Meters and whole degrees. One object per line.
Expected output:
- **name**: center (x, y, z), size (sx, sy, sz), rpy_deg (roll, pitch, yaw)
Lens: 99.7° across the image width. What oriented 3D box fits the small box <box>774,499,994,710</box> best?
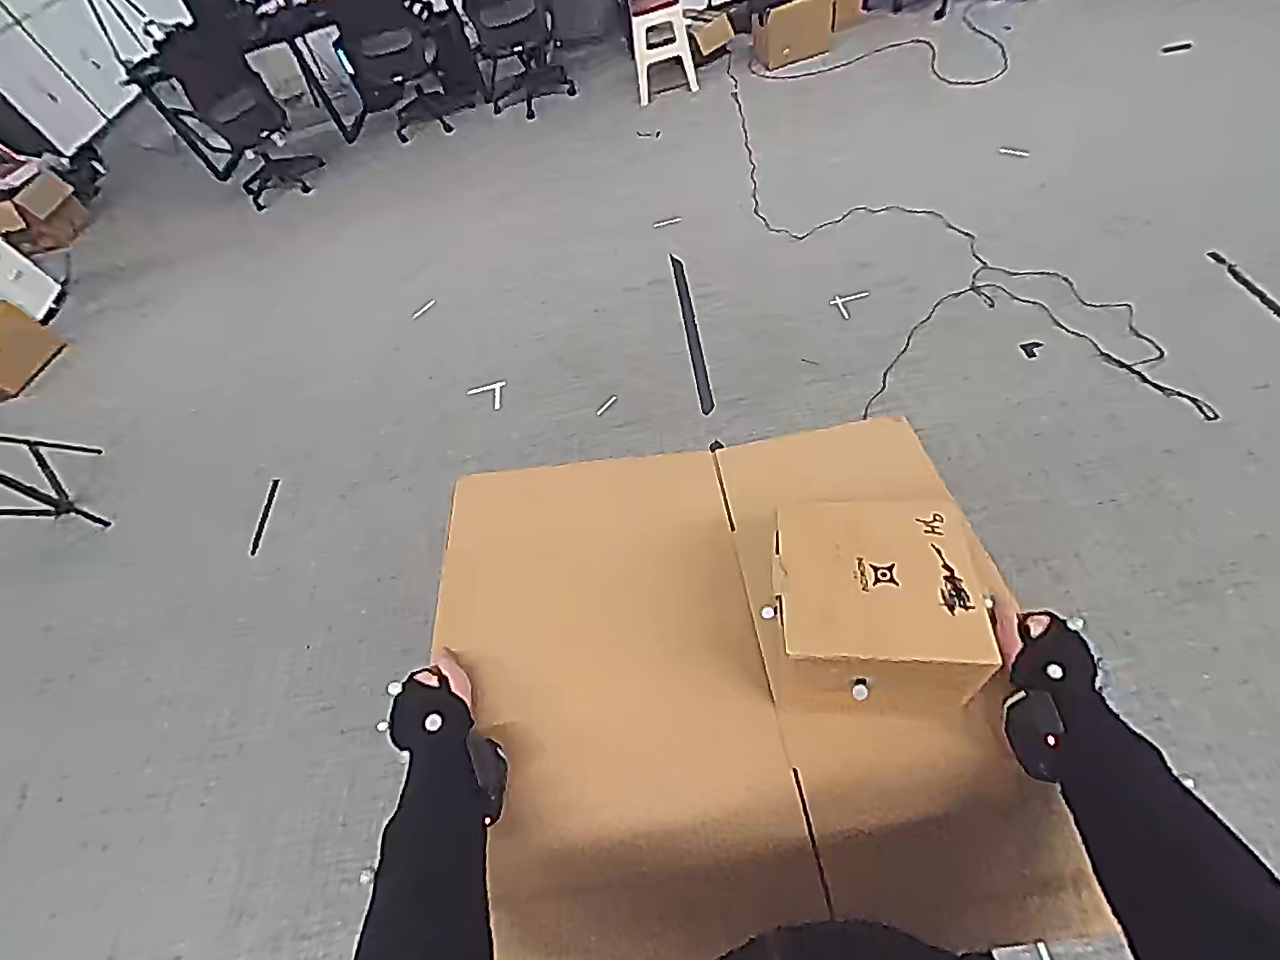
- **small box**: center (0.239, 0.136, 0.579), size (0.179, 0.176, 0.168), rpy_deg (-3, 52, 13)
